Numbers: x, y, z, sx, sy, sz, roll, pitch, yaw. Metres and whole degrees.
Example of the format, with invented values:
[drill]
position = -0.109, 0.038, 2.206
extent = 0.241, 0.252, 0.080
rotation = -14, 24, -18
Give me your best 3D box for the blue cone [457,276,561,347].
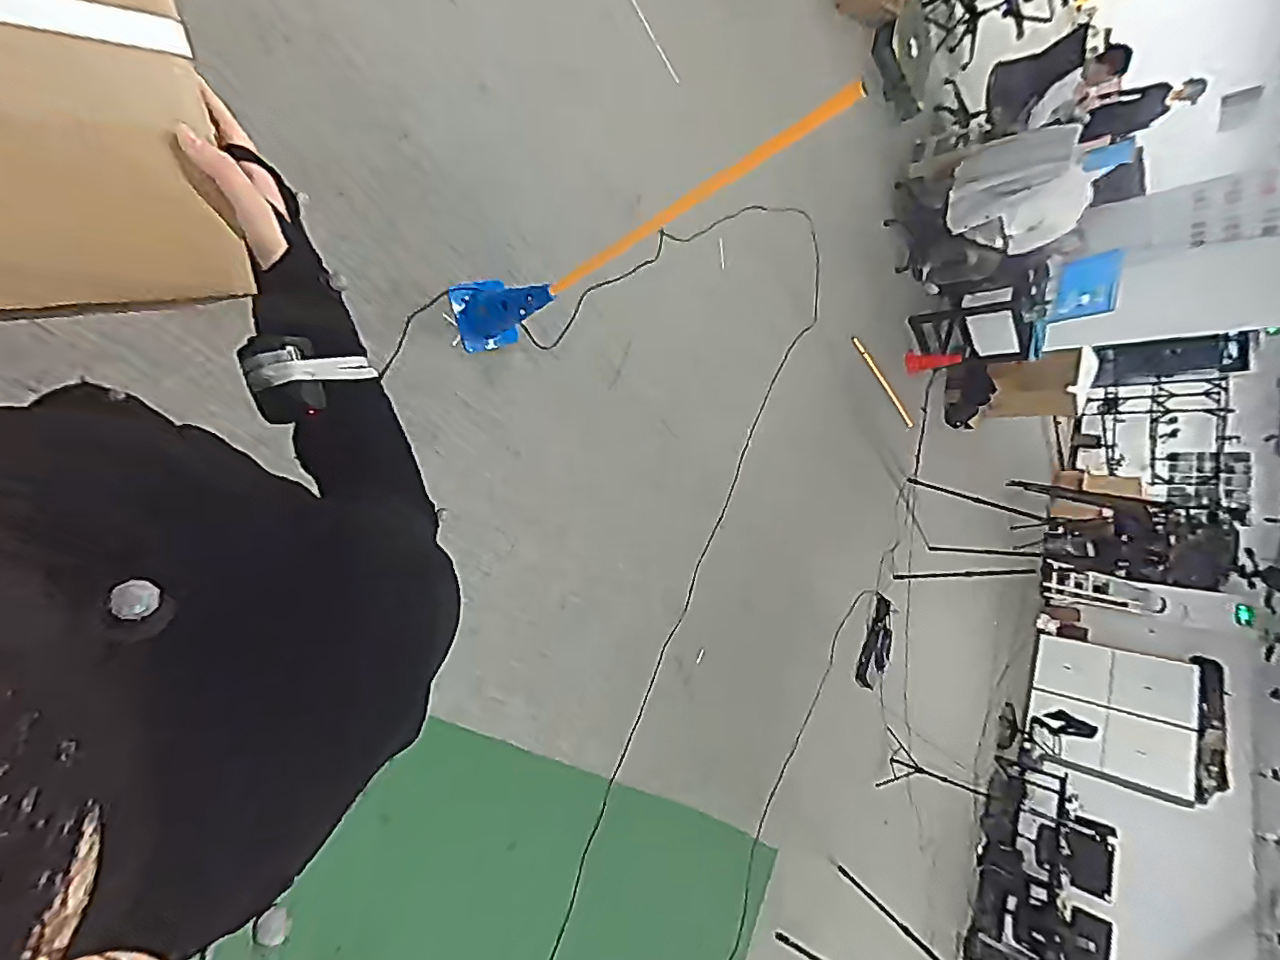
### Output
[blue cone]
position = -0.344, -0.513, 1.549
extent = 0.193, 0.380, 0.192
rotation = -31, 112, -39
